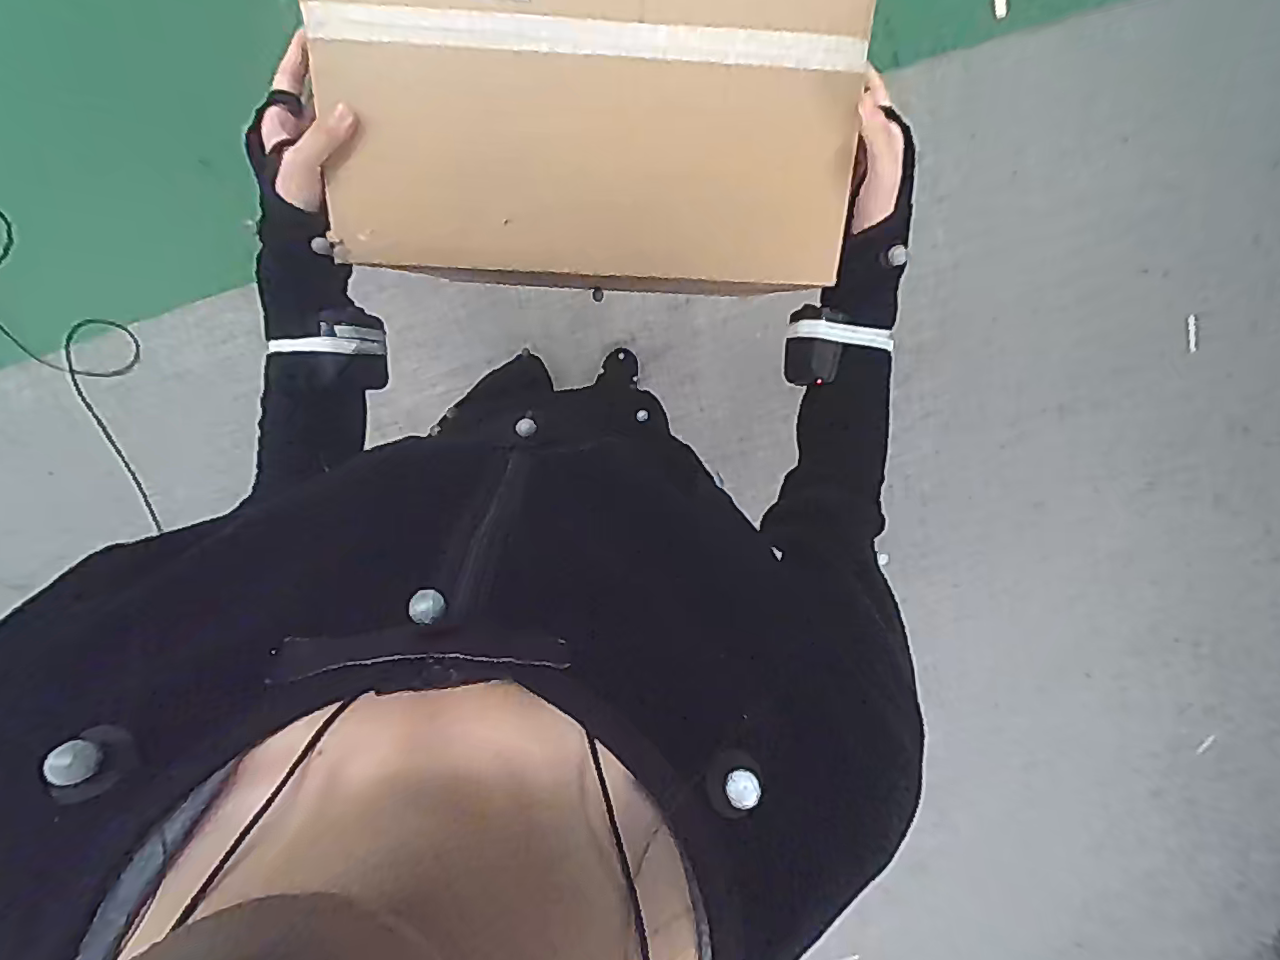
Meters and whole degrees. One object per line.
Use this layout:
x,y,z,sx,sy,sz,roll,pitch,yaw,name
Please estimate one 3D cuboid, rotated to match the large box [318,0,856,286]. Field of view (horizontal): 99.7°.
-0.041,-0.366,0.550,0.408,0.320,0.320,2,107,-2,large box
